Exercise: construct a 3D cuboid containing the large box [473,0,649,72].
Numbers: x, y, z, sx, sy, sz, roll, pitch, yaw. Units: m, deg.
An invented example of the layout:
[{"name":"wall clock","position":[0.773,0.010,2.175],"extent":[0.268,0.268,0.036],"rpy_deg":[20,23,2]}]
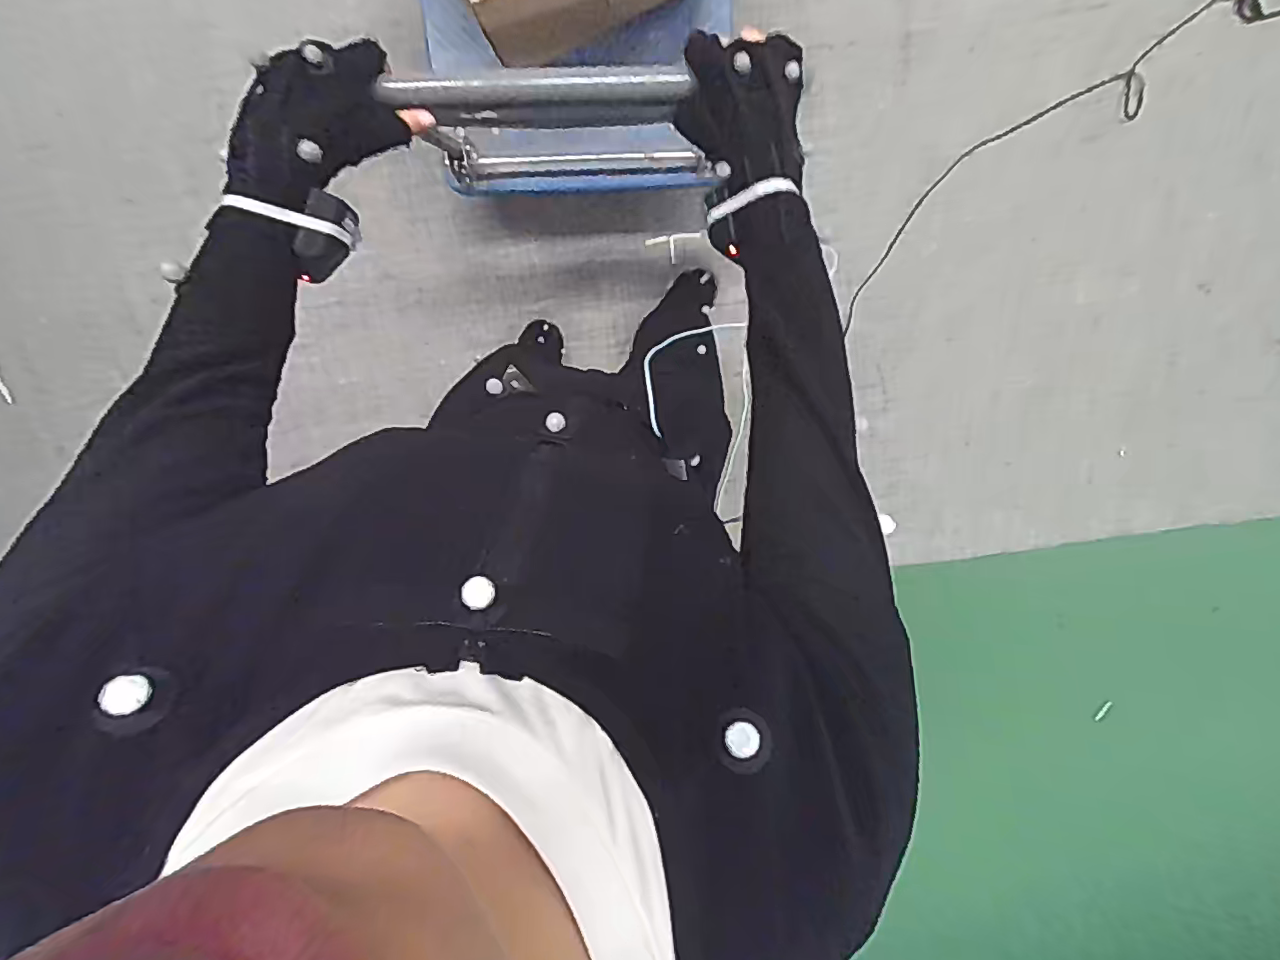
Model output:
[{"name":"large box","position":[-0.115,-0.931,0.827],"extent":[0.408,0.320,0.320],"rpy_deg":[-23,109,8]}]
